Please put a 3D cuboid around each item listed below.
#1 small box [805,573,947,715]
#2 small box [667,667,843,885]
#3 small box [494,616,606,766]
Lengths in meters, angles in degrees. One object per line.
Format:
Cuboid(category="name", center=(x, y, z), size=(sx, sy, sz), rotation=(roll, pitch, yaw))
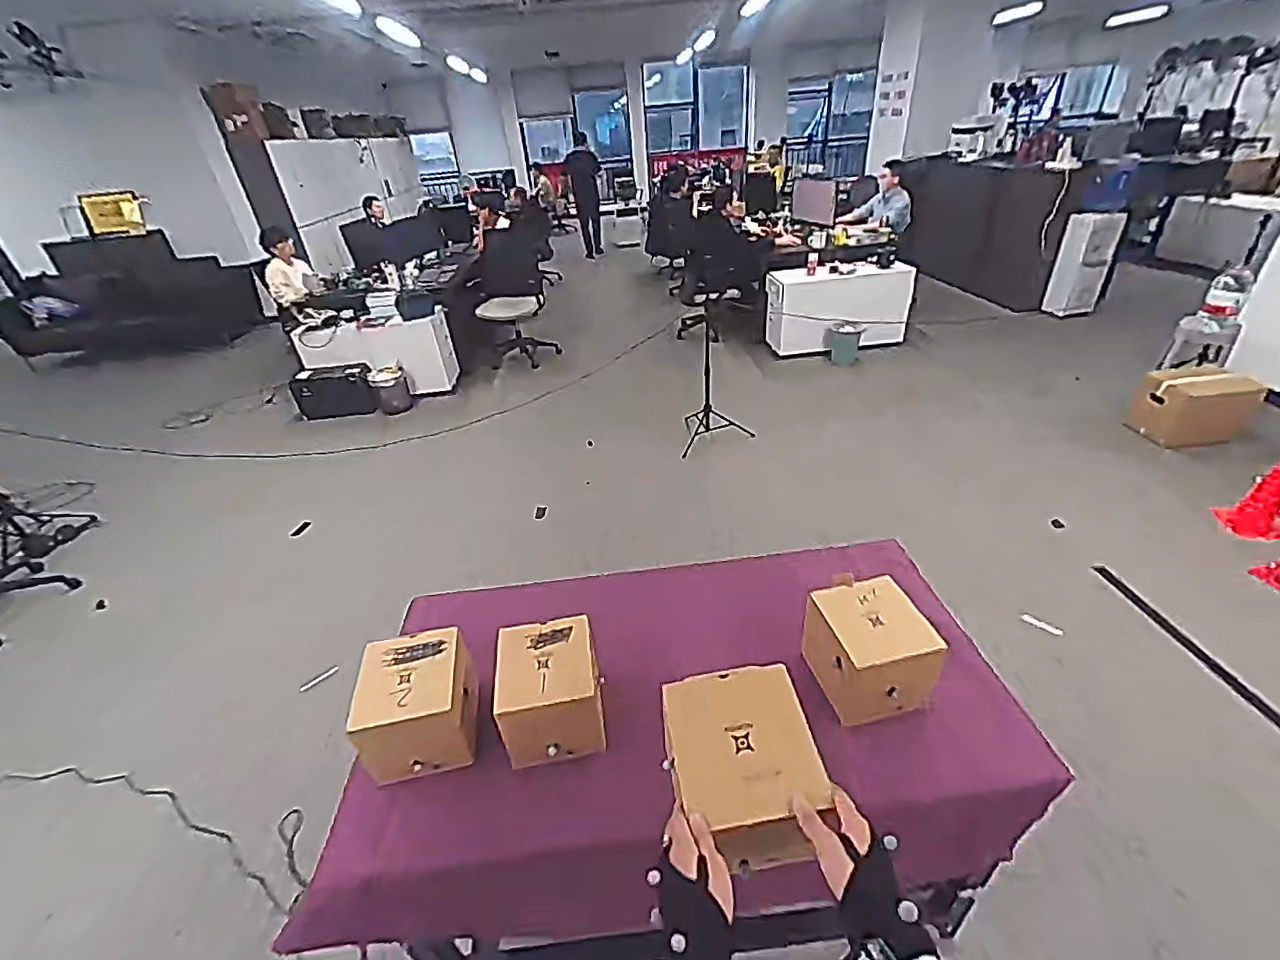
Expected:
Cuboid(category="small box", center=(0.419, 0.304, 0.991), size=(0.168, 0.176, 0.179), rotation=(-11, 33, -7))
Cuboid(category="small box", center=(0.128, 0.366, 0.675), size=(0.168, 0.176, 0.179), rotation=(-9, 39, -3))
Cuboid(category="small box", center=(-0.158, 0.377, 0.976), size=(0.168, 0.176, 0.179), rotation=(-9, 34, -5))
